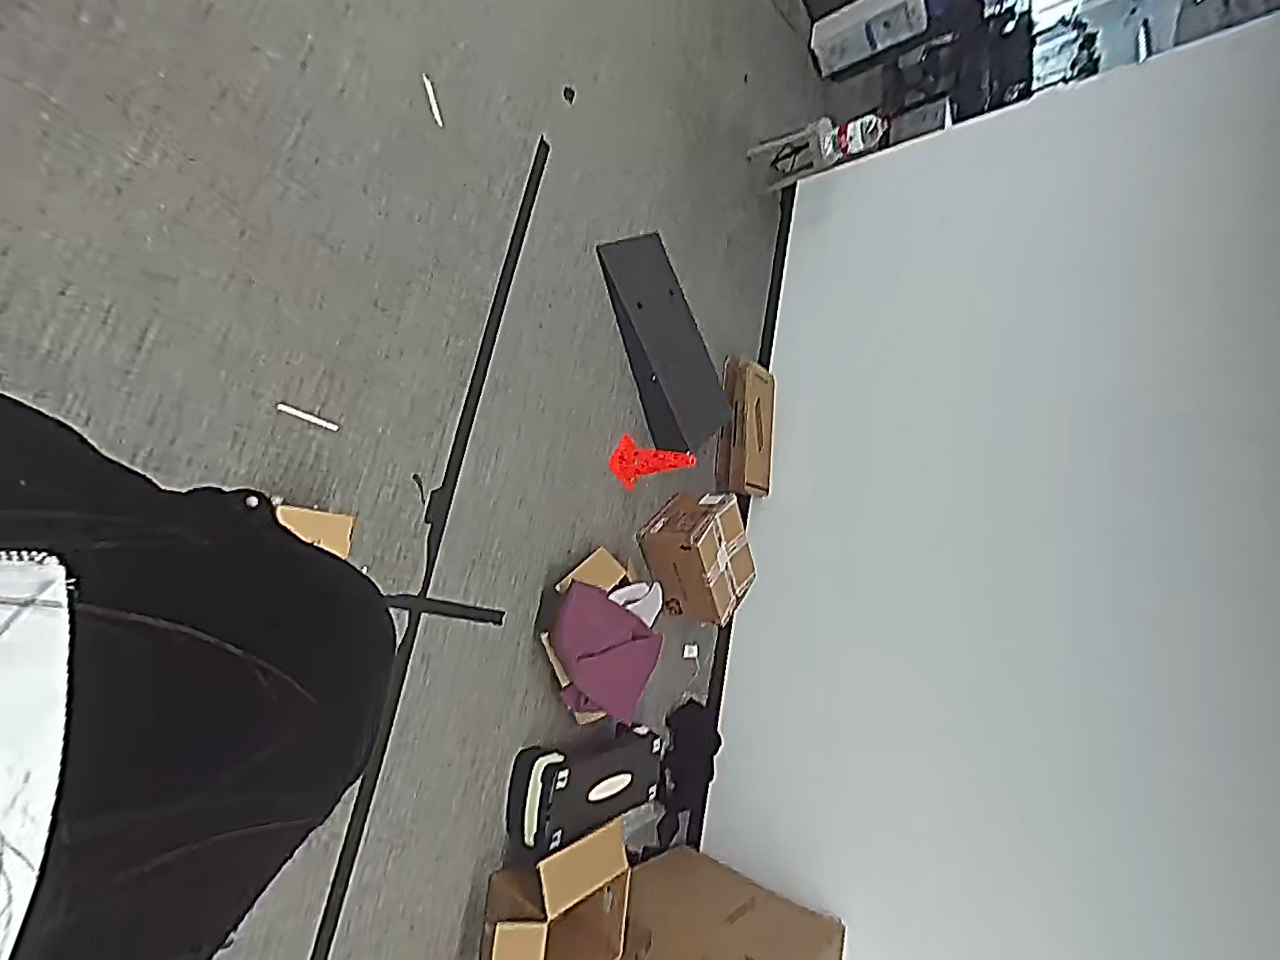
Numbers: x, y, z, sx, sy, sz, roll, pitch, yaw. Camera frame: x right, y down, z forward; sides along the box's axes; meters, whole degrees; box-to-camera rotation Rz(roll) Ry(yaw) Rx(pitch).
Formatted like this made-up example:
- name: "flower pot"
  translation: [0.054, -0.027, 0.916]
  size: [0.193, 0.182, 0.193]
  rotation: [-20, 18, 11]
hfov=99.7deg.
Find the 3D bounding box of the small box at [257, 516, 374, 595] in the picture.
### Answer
- name: "small box"
  translation: [-0.774, 0.179, 1.292]
  size: [0.179, 0.176, 0.168]
  rotation: [18, 76, -50]
